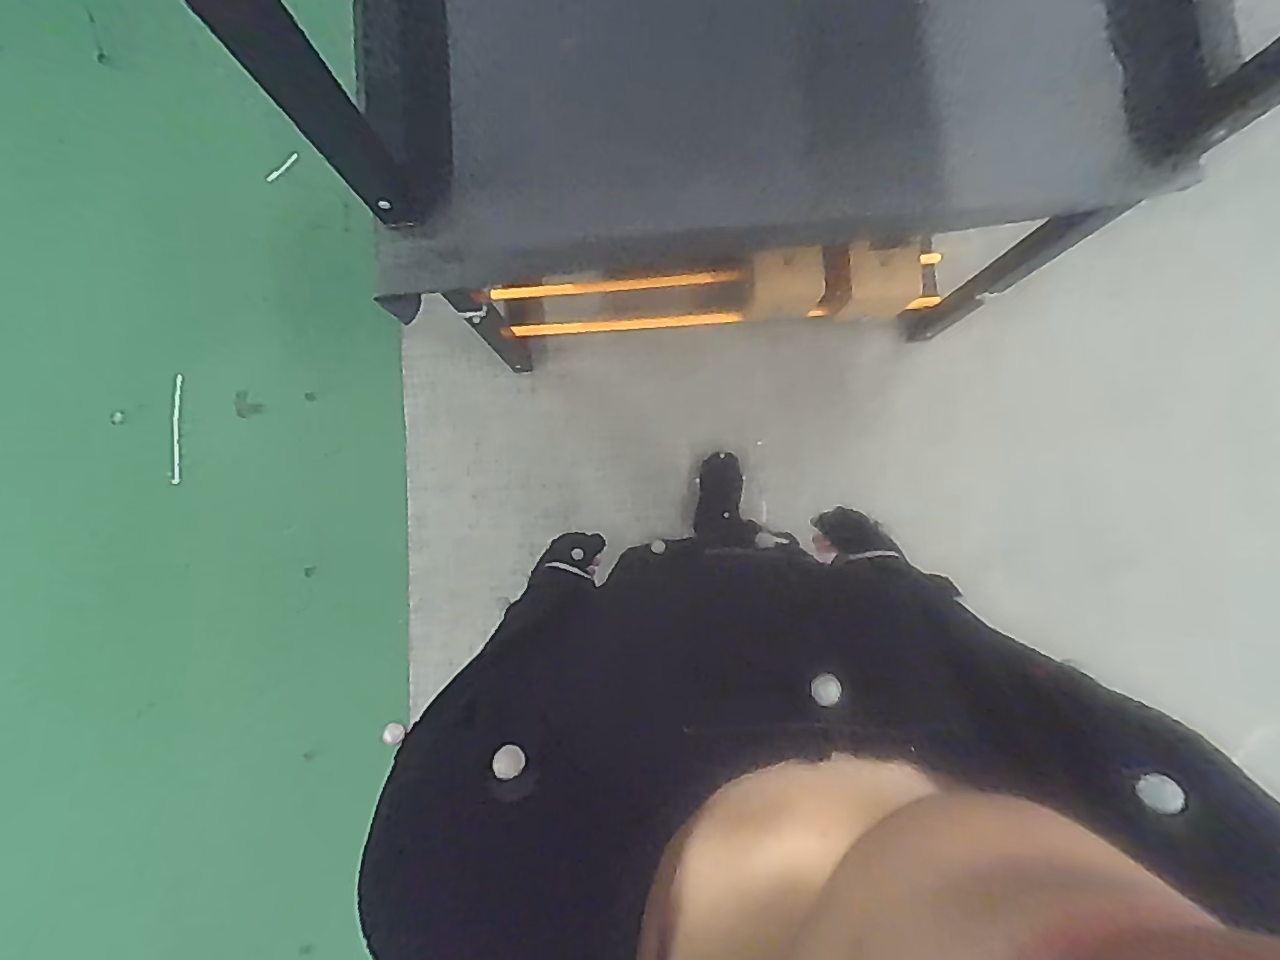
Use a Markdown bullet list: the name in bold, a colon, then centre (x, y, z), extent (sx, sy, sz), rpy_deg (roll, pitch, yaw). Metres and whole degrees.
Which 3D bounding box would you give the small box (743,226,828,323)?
- **small box**: centre (0.355, -0.501, 1.345), extent (0.168, 0.176, 0.179), rpy_deg (-4, 86, 1)
